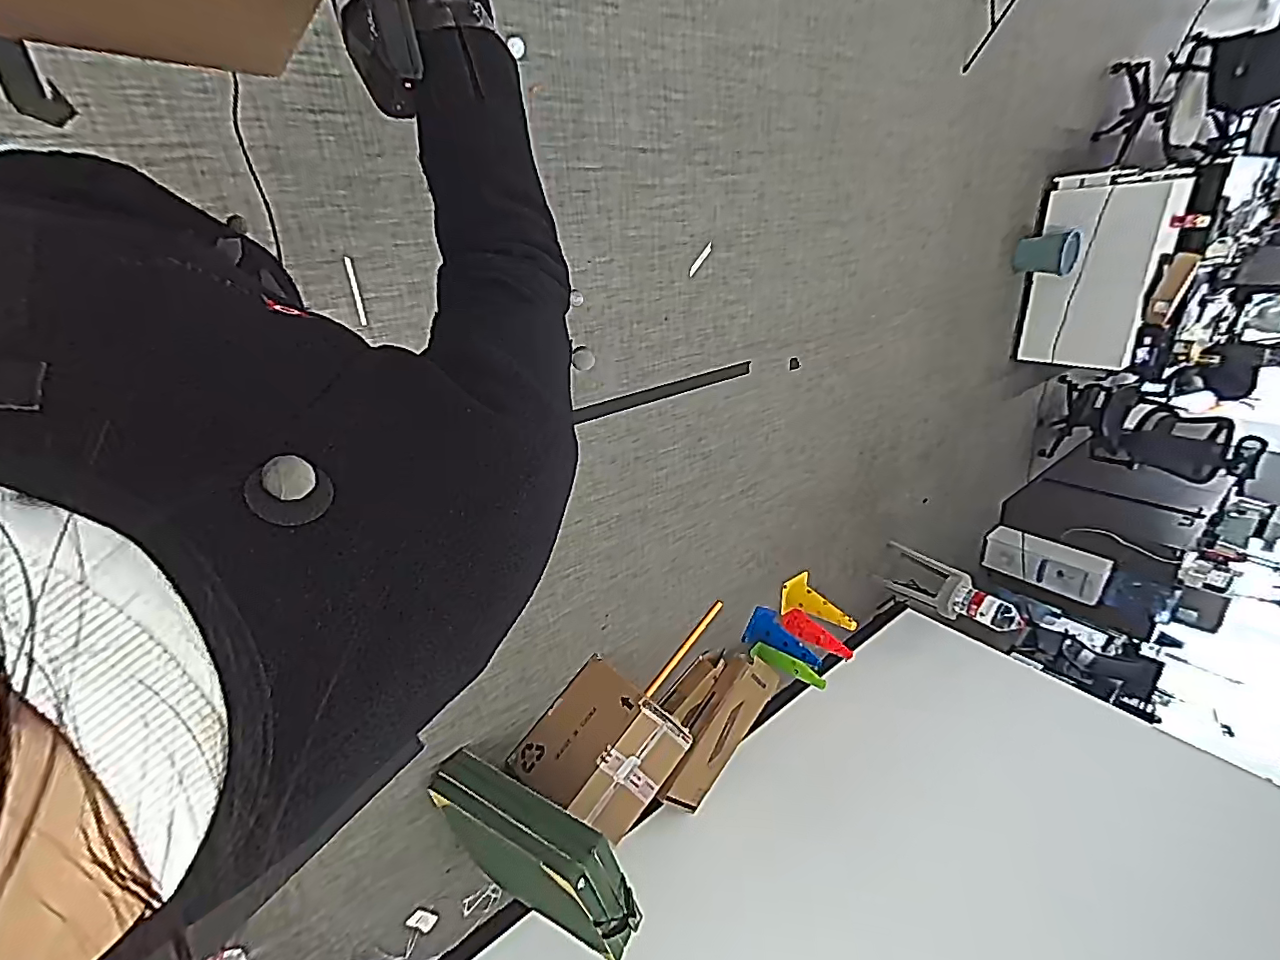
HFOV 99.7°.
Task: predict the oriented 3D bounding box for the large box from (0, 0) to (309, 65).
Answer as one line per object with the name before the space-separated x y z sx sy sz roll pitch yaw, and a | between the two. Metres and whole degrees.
large box | -0.417 -0.435 0.243 0.408 0.320 0.320 -18 121 -34
